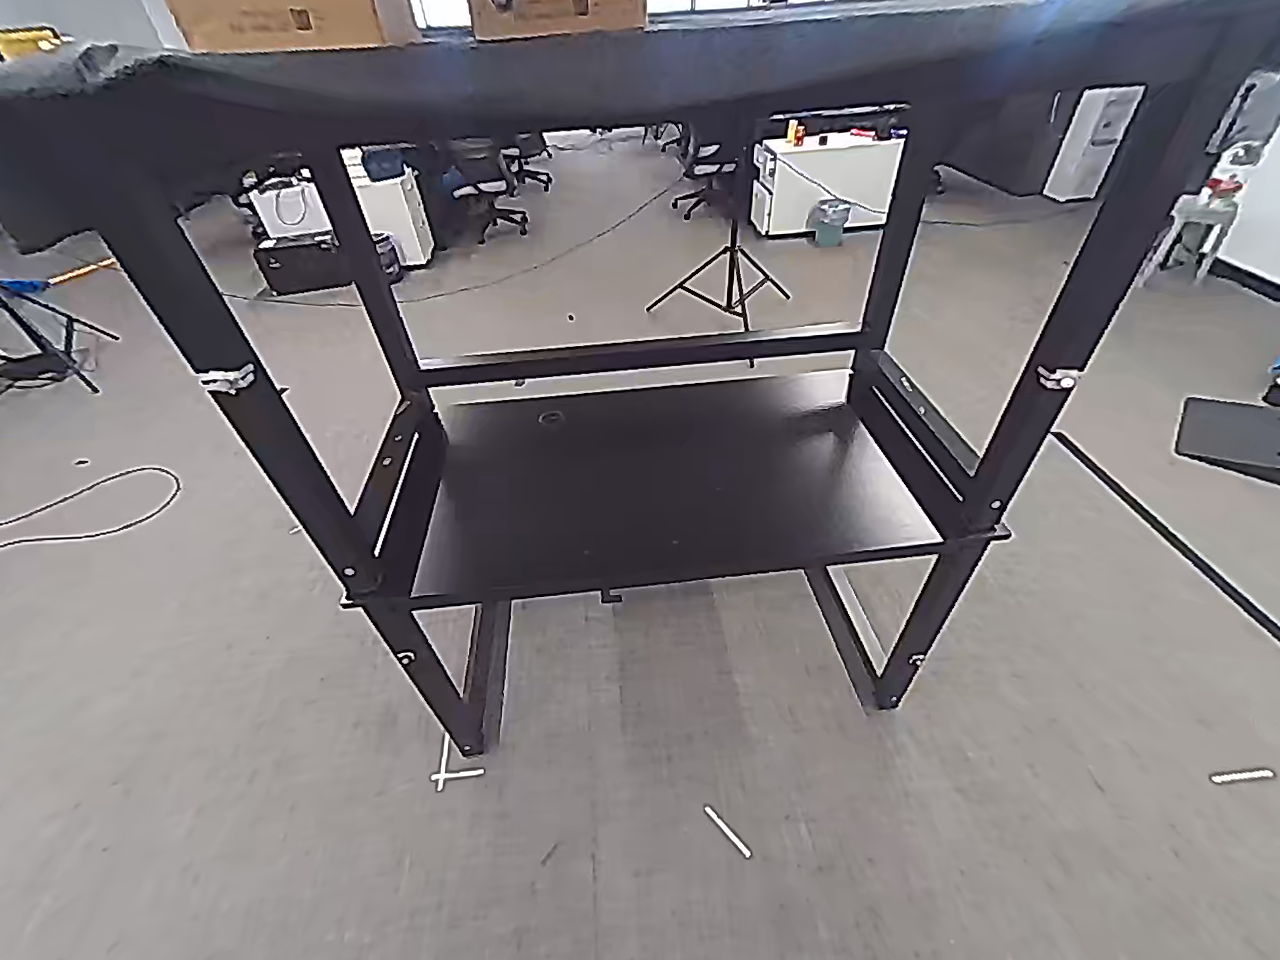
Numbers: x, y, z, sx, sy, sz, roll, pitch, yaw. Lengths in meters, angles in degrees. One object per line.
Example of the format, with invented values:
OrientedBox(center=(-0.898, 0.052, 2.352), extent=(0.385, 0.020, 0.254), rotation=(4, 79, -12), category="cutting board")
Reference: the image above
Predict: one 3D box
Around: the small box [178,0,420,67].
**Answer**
OrientedBox(center=(-0.319, -0.489, 0.493), extent=(0.168, 0.176, 0.179), rotation=(-5, 39, -3), category="small box")

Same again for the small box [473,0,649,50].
OrientedBox(center=(-0.081, -0.531, 0.521), extent=(0.168, 0.176, 0.179), rotation=(-4, 39, -1), category="small box")
